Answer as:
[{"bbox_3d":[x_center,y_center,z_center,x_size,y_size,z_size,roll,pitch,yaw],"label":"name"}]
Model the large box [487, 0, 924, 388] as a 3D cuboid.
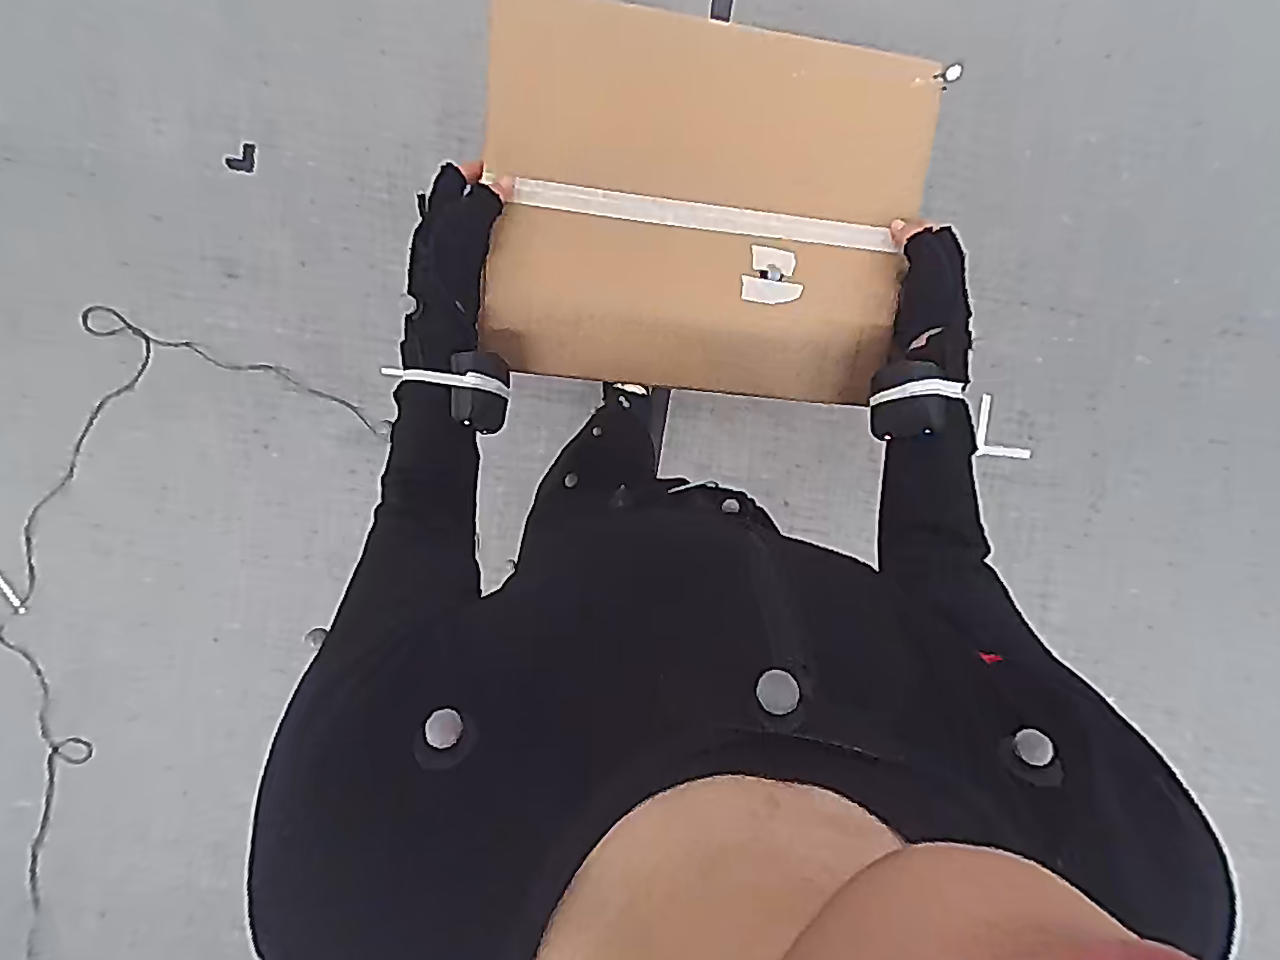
[{"bbox_3d":[0.042,-0.288,0.656,0.408,0.320,0.320,4,103,-8],"label":"large box"}]
